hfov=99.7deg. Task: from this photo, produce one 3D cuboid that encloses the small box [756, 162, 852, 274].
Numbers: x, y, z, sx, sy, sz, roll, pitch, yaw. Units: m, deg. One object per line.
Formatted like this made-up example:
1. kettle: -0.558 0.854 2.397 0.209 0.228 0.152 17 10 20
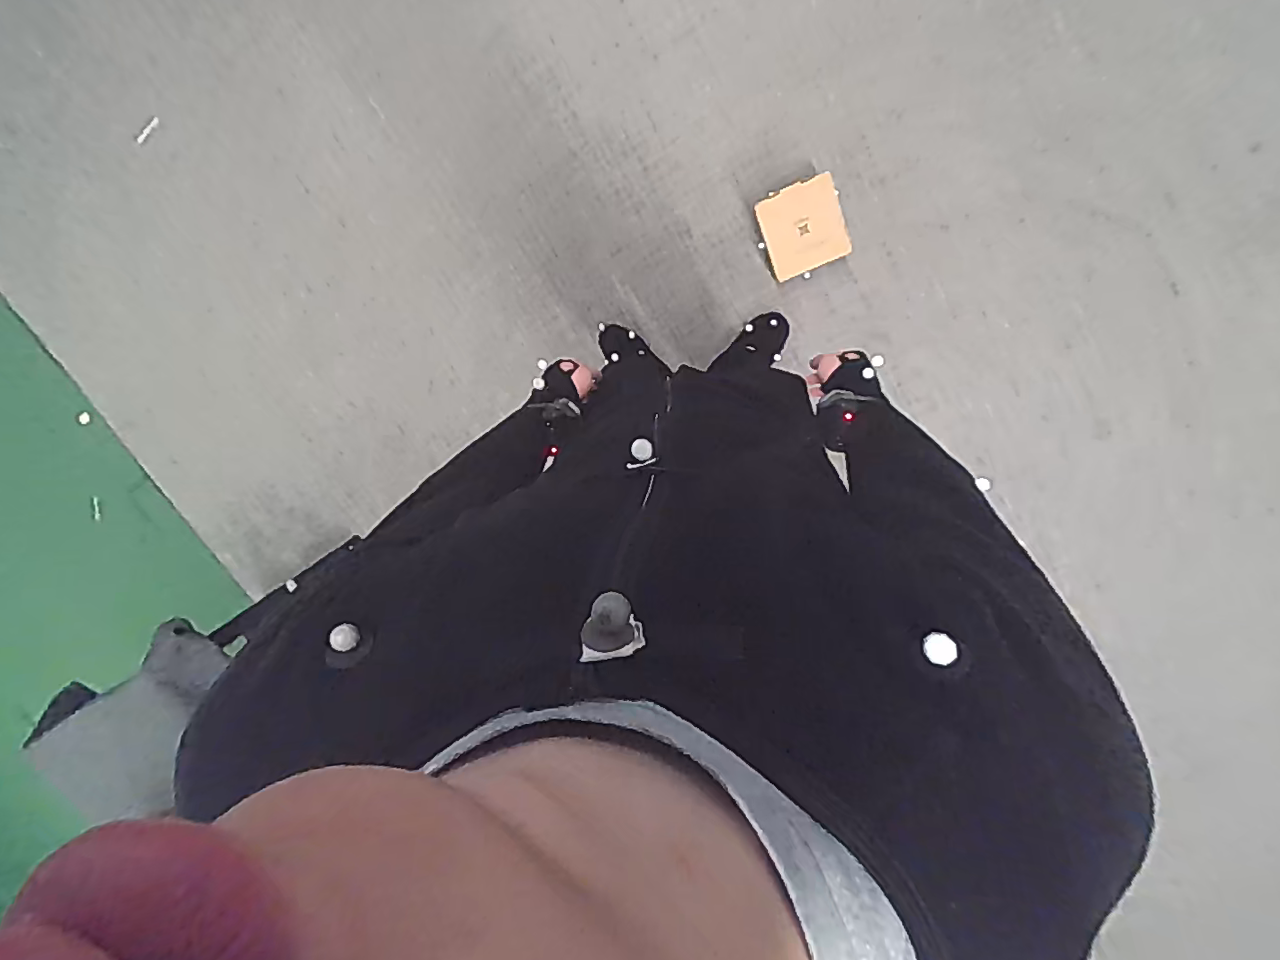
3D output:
1. small box: 0.368 -0.588 1.236 0.168 0.176 0.179 -18 107 19
